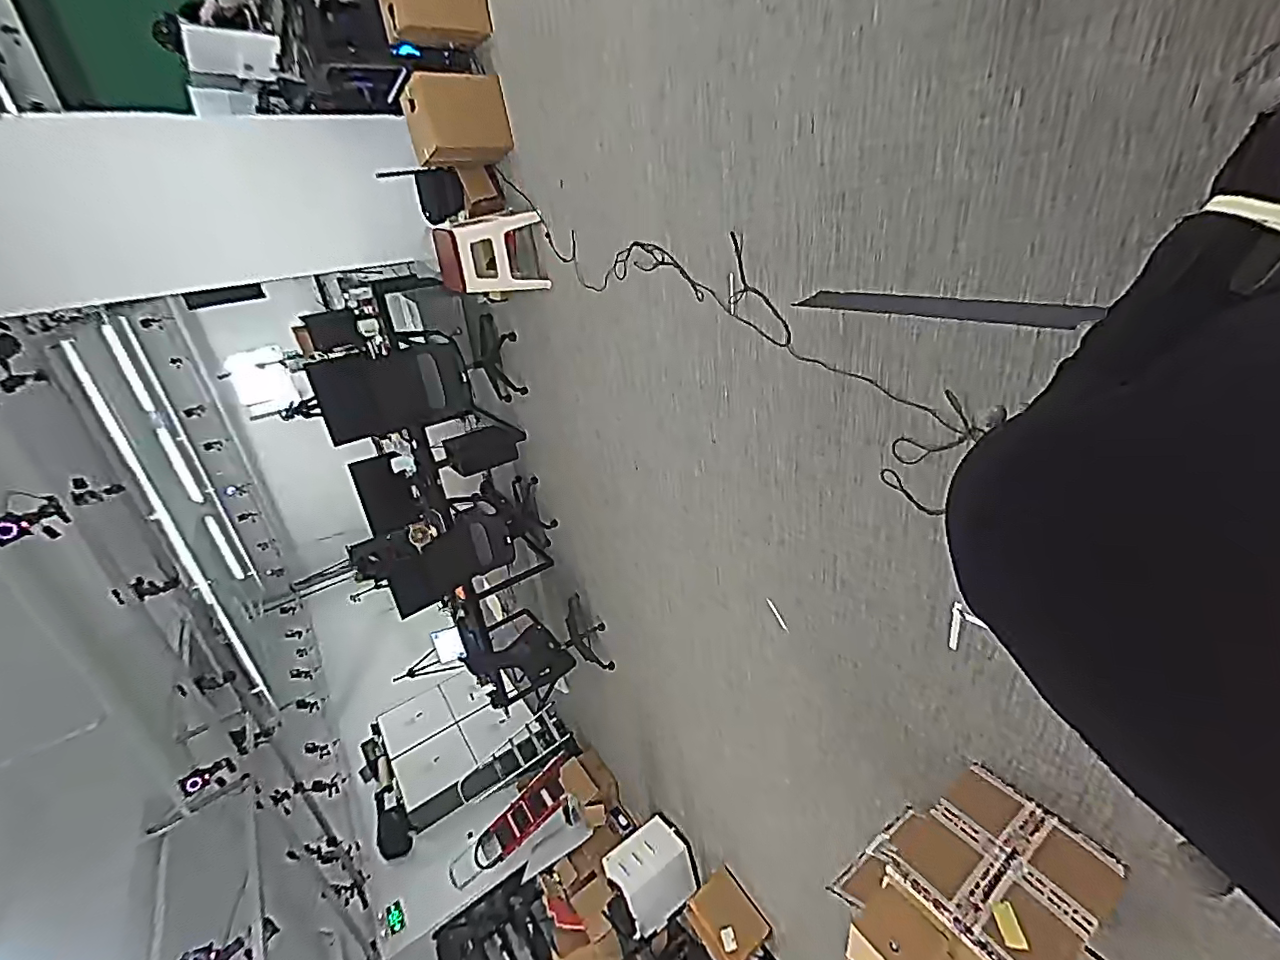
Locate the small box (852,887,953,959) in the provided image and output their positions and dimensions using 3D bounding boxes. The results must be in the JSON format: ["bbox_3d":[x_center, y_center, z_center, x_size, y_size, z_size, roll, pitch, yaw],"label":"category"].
[{"bbox_3d":[0.695,1.245,1.436,0.179,0.176,0.168,29,132,52],"label":"small box"}]
